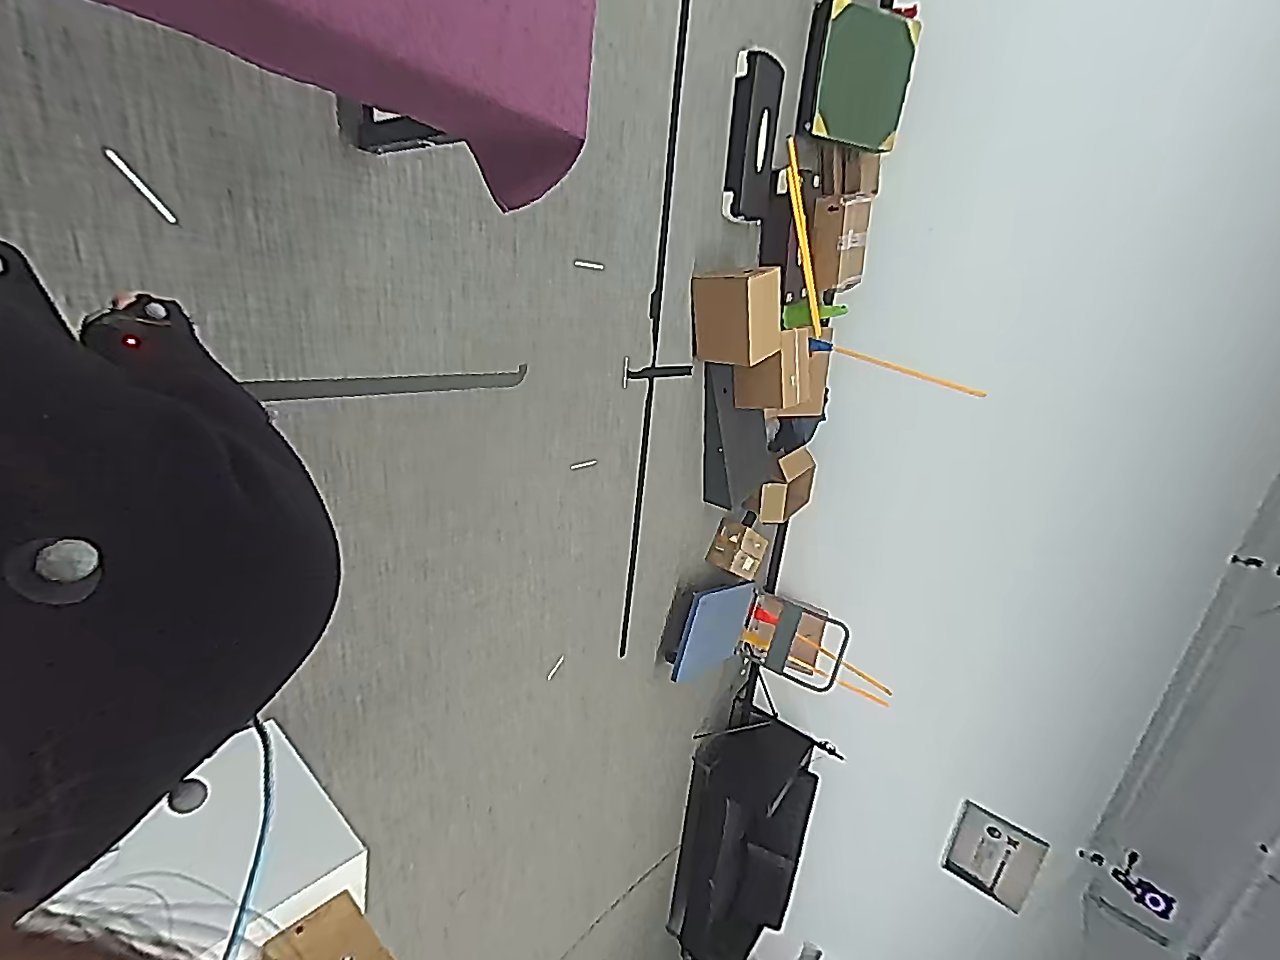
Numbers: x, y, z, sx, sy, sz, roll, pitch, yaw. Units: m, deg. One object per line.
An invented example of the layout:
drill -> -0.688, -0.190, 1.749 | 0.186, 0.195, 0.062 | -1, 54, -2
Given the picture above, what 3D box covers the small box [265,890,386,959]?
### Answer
small box -> -0.652, 1.014, 1.115 | 0.168, 0.176, 0.179 | -9, 114, -52
